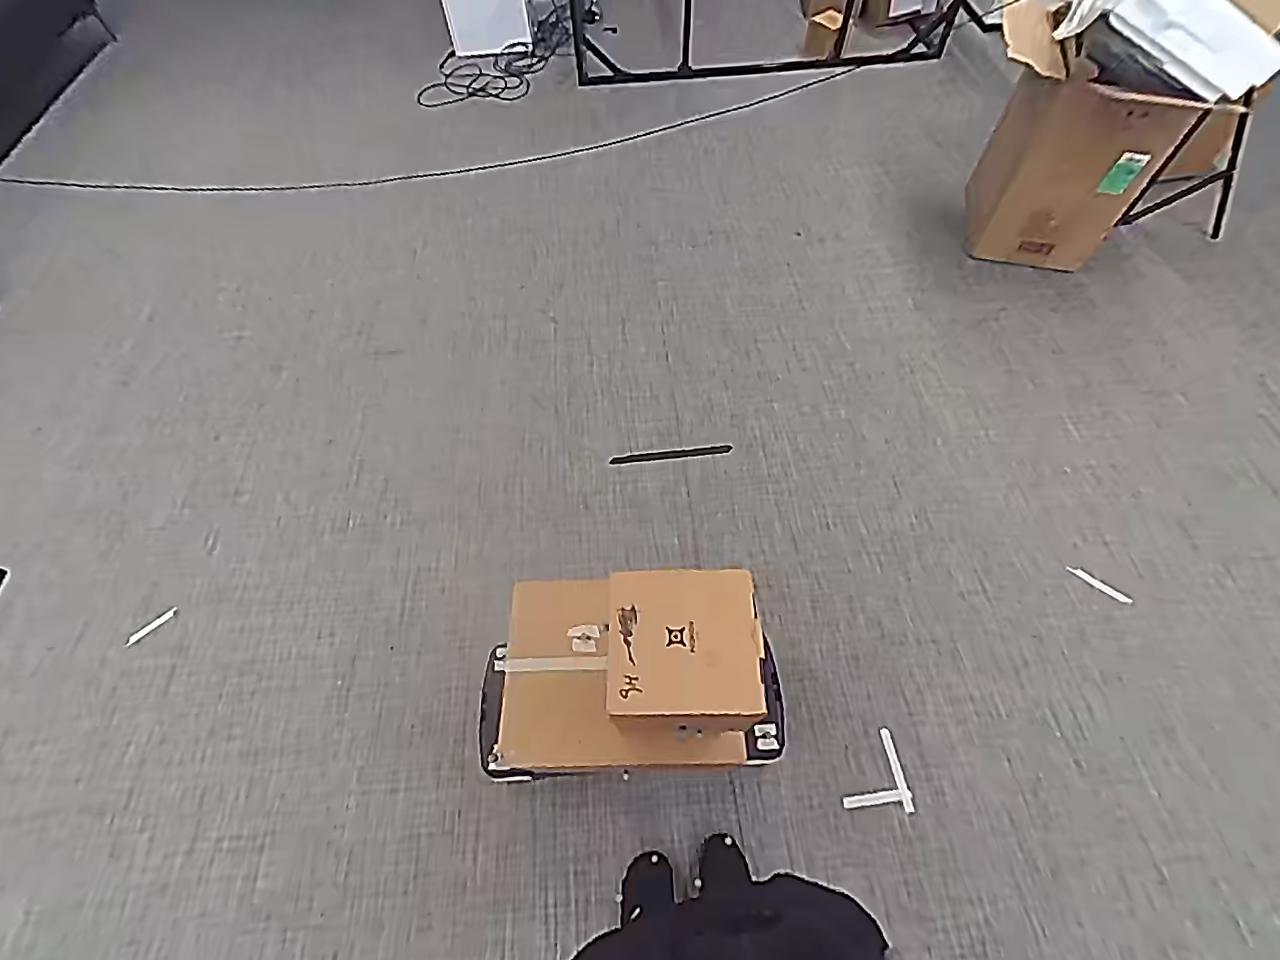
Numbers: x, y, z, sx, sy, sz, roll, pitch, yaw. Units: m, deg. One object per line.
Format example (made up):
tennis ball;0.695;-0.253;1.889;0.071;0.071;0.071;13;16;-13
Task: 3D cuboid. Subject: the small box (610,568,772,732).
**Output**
small box;0.056;0.219;0.686;0.179;0.176;0.168;0;59;1

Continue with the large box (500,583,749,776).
large box;-0.022;0.396;1.058;0.408;0.320;0.320;-2;59;2

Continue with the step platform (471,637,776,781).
step platform;-0.034;0.527;1.258;0.684;0.204;0.286;0;60;3
